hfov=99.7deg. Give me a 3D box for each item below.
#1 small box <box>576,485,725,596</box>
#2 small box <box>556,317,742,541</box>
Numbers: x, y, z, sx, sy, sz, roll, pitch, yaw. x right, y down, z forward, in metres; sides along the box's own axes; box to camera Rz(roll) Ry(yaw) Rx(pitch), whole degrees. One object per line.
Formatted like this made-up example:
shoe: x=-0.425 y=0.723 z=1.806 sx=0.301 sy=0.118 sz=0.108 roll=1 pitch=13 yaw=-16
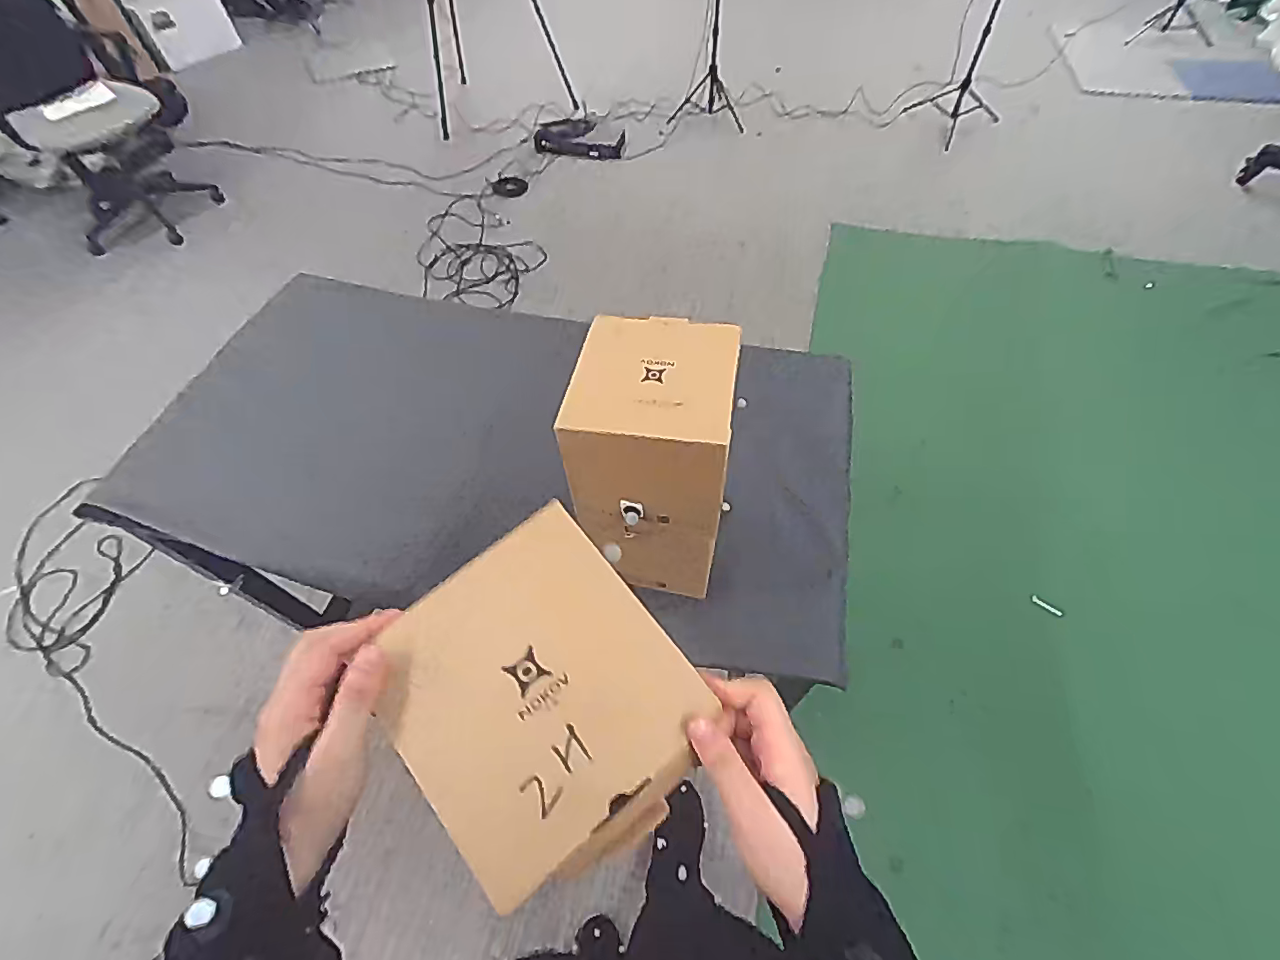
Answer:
small box: x=0.025 y=0.037 z=0.741 sx=0.168 sy=0.176 sz=0.179 roll=10 pitch=53 yaw=10
small box: x=0.018 y=-0.056 z=0.608 sx=0.168 sy=0.176 sz=0.179 roll=6 pitch=55 yaw=9
